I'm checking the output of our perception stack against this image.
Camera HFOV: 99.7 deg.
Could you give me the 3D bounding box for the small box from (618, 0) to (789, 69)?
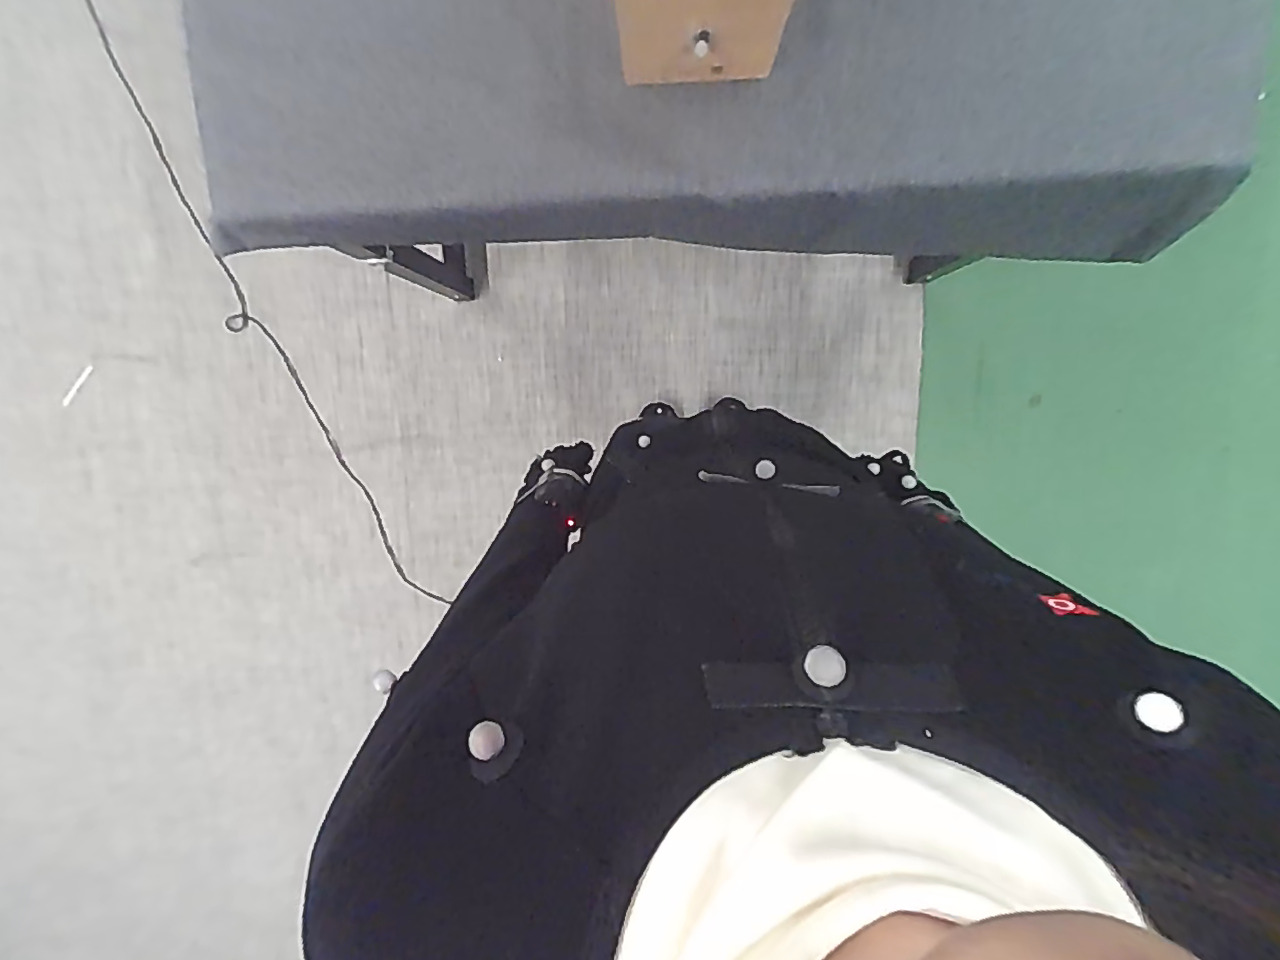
[{"bbox_3d":[0.062,-0.534,0.523,0.168,0.176,0.179,-2,100,4],"label":"small box"}]
